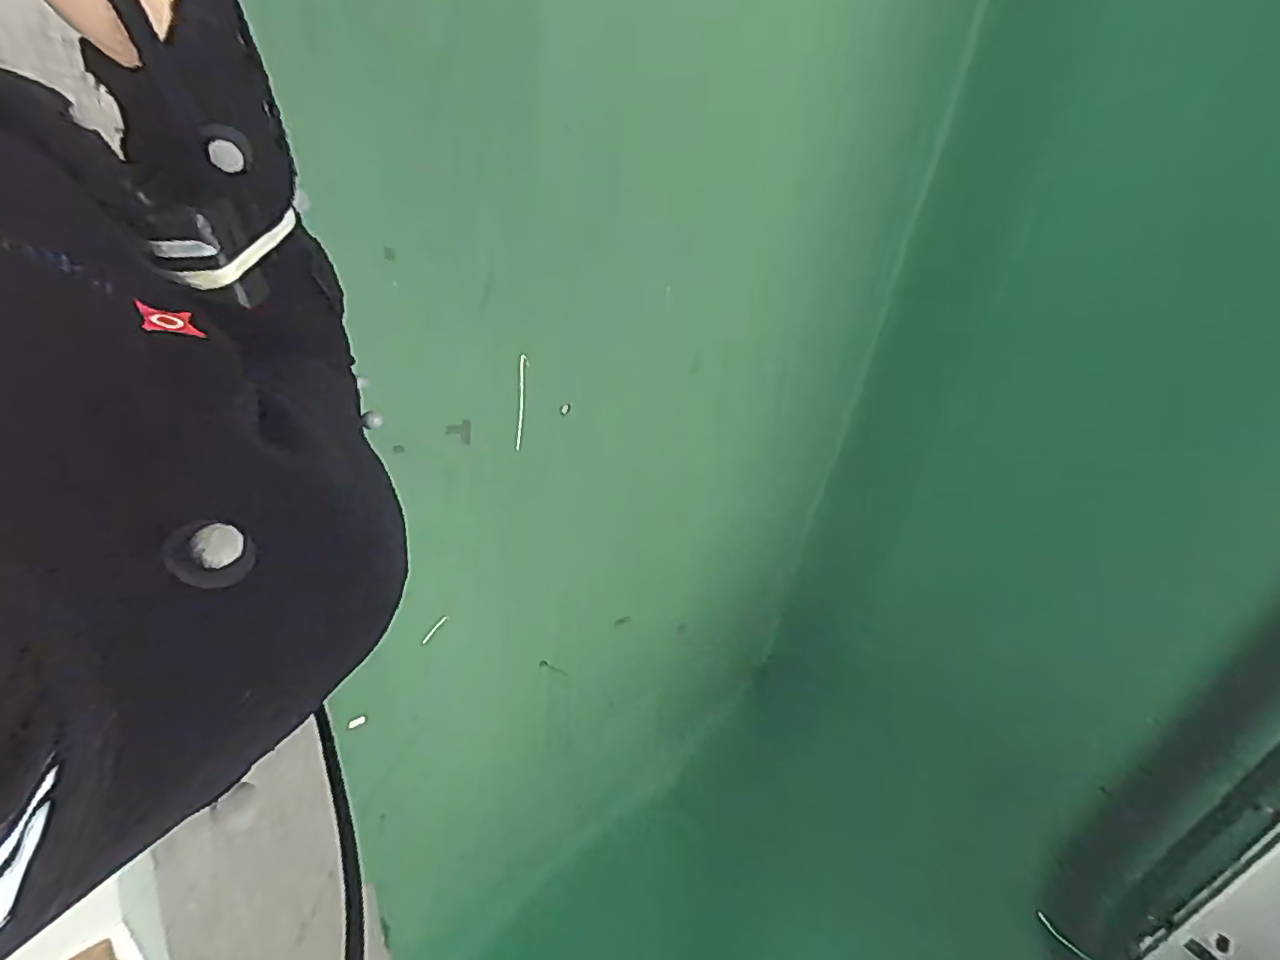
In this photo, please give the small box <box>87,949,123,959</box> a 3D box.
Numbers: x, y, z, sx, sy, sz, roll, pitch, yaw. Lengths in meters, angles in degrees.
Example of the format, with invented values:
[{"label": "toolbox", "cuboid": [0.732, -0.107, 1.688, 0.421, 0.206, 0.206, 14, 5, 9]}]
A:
[{"label": "small box", "cuboid": [-0.831, 0.828, 0.764, 0.168, 0.176, 0.179, -14, 127, -41]}]
